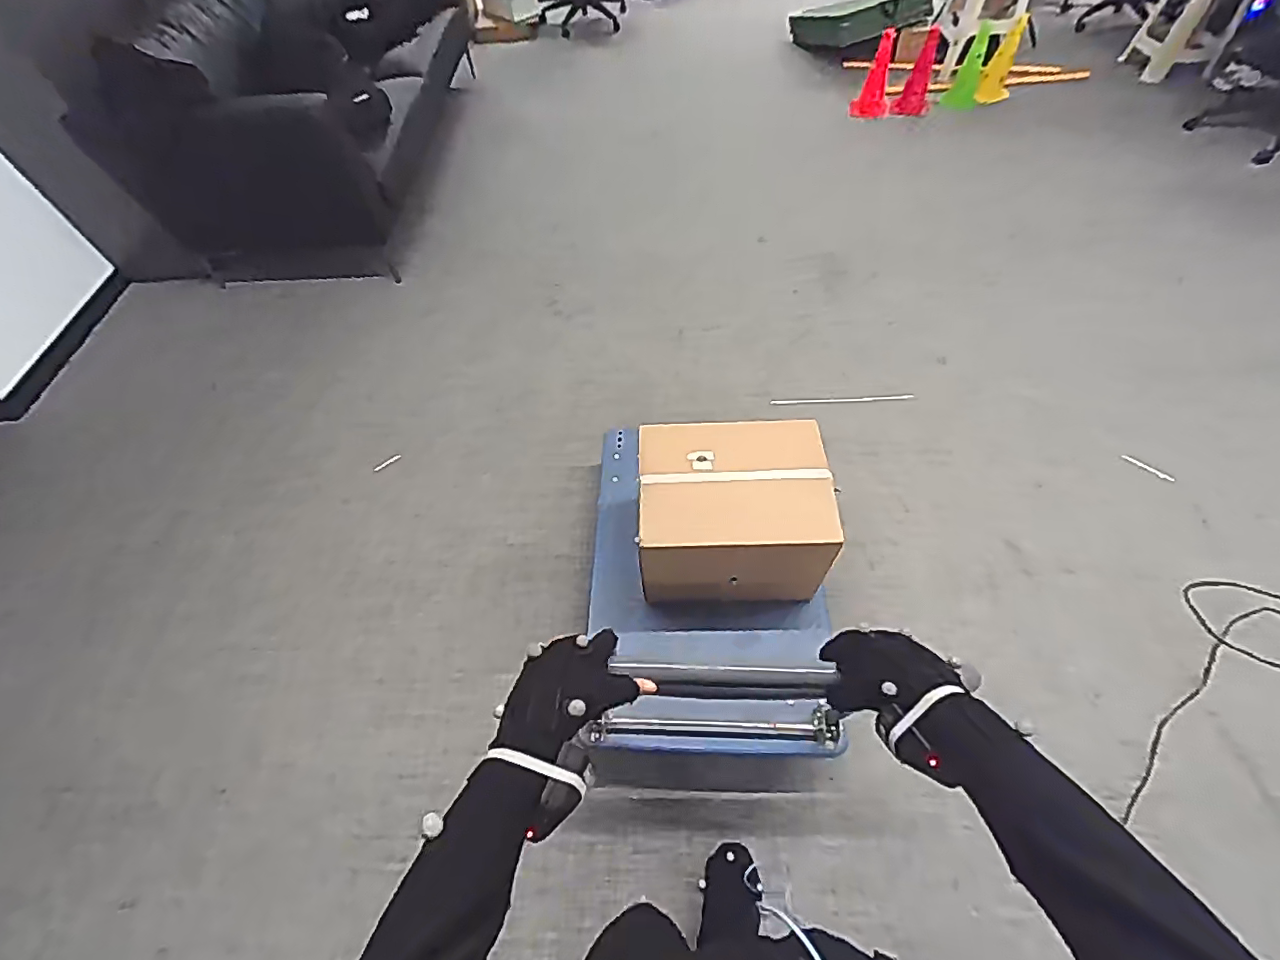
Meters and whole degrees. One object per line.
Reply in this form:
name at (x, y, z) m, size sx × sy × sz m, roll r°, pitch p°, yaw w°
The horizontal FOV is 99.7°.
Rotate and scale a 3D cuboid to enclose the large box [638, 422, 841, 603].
large box at (0.211, 0.090, 1.287) m, size 0.408 × 0.320 × 0.320 m, roll -3°, pitch 56°, yaw 3°
